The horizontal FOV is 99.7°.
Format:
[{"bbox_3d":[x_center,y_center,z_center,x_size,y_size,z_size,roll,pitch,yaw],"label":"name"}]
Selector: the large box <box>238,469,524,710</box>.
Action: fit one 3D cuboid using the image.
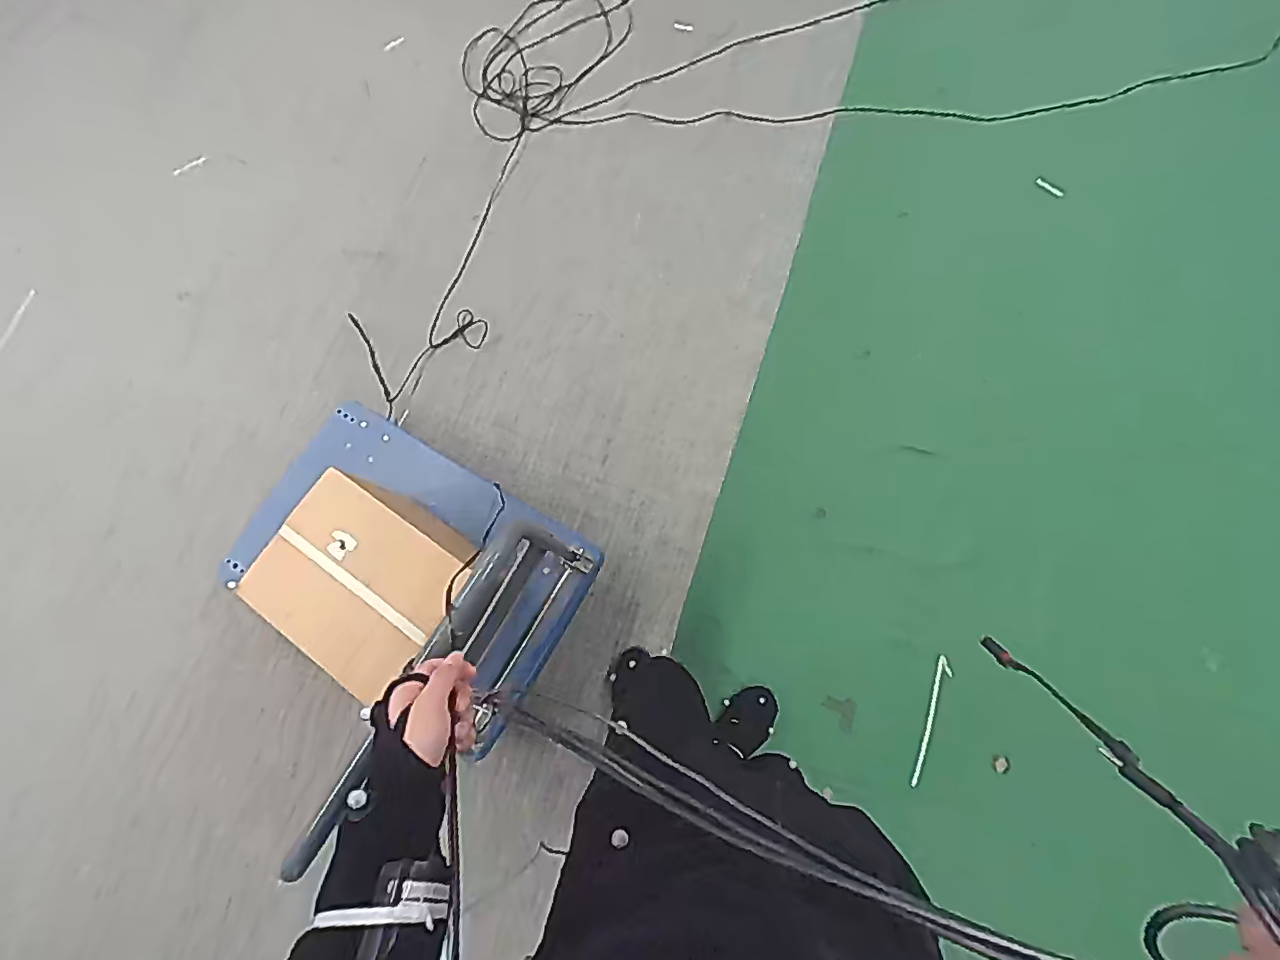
[{"bbox_3d":[-0.537,0.235,1.196,0.408,0.320,0.320,33,81,13],"label":"large box"}]
